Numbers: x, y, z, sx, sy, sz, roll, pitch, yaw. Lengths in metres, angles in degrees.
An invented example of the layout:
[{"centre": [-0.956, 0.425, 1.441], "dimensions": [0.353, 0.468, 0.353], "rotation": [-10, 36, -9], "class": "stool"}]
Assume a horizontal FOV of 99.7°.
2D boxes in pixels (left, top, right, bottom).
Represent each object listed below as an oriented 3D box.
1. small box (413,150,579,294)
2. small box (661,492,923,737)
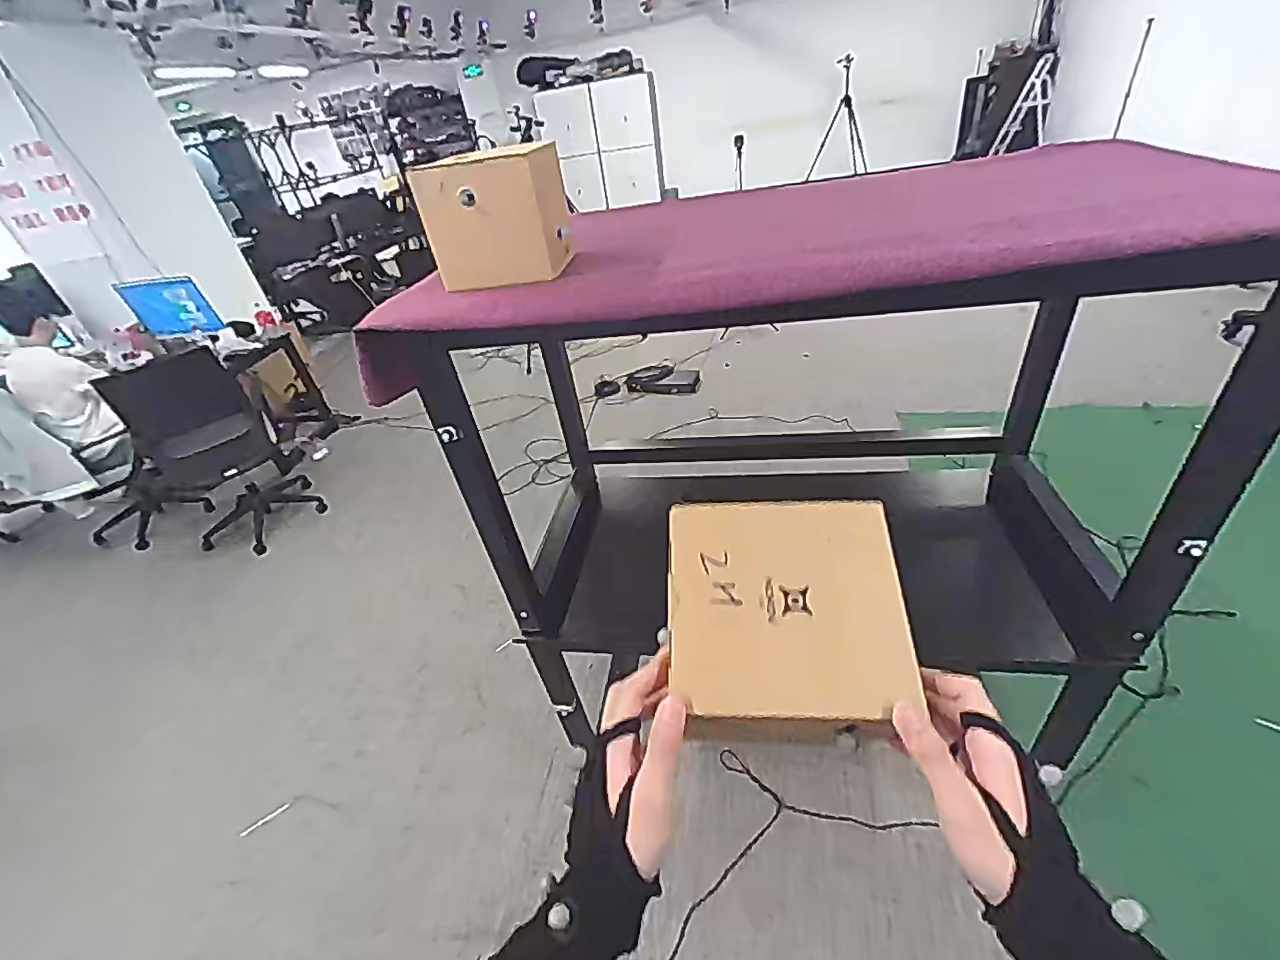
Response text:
[{"centre": [-0.207, -0.396, 0.835], "dimensions": [0.179, 0.176, 0.168], "rotation": [-2, 35, 10], "class": "small box"}, {"centre": [0.113, 0.123, 0.472], "dimensions": [0.179, 0.176, 0.168], "rotation": [-2, 58, 7], "class": "small box"}]
